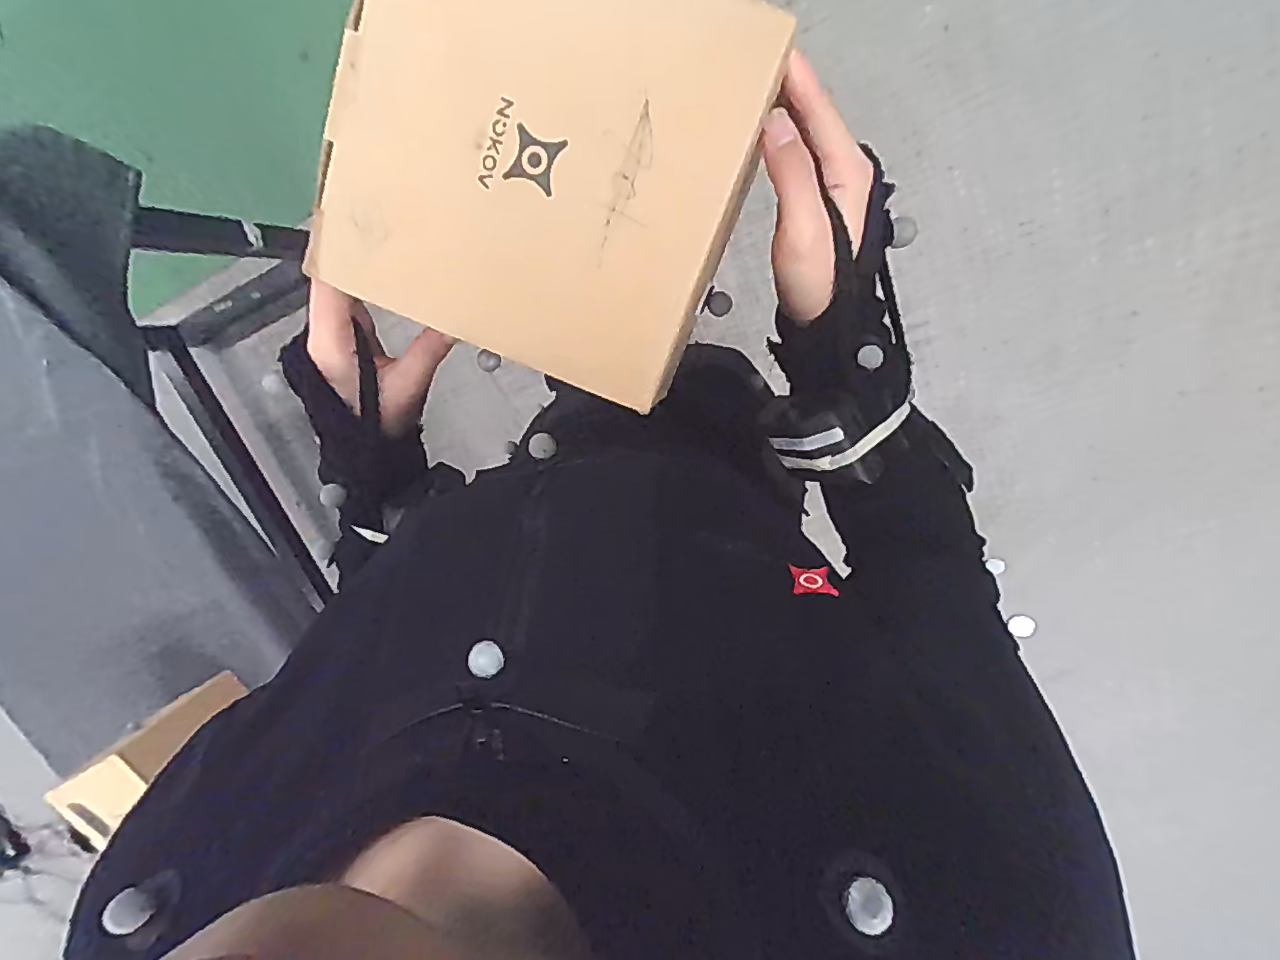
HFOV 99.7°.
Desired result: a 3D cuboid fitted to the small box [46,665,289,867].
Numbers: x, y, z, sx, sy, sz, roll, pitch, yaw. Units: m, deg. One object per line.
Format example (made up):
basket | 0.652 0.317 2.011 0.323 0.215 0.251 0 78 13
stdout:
small box | -0.668 0.407 0.787 0.179 0.176 0.168 -29 103 17
